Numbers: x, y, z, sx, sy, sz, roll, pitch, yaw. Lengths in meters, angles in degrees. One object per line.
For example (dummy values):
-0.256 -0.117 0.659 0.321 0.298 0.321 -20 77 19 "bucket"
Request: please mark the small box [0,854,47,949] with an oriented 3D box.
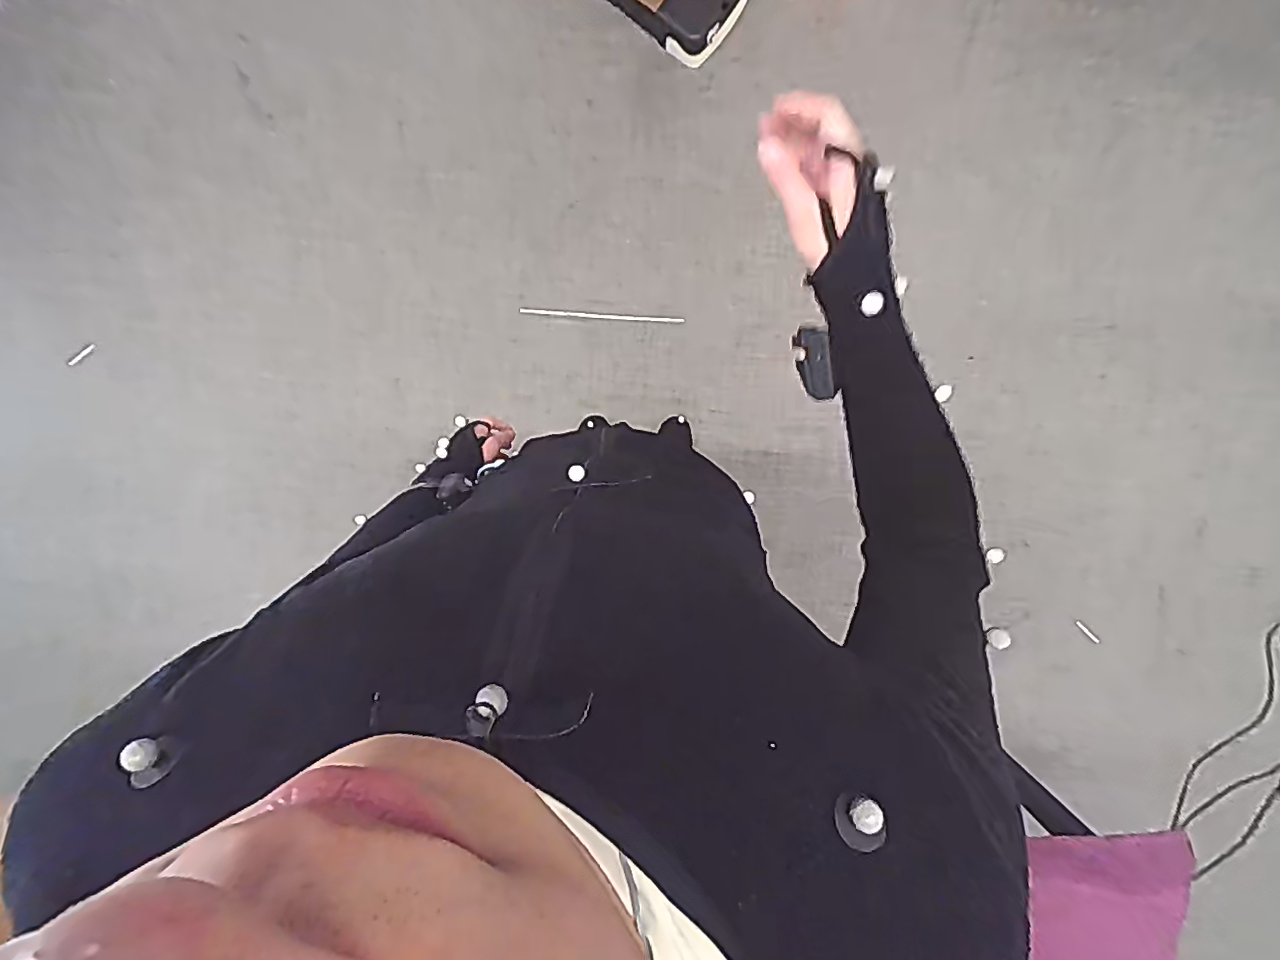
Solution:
-1.549 1.001 1.248 0.179 0.176 0.168 6 95 -1 "small box"
